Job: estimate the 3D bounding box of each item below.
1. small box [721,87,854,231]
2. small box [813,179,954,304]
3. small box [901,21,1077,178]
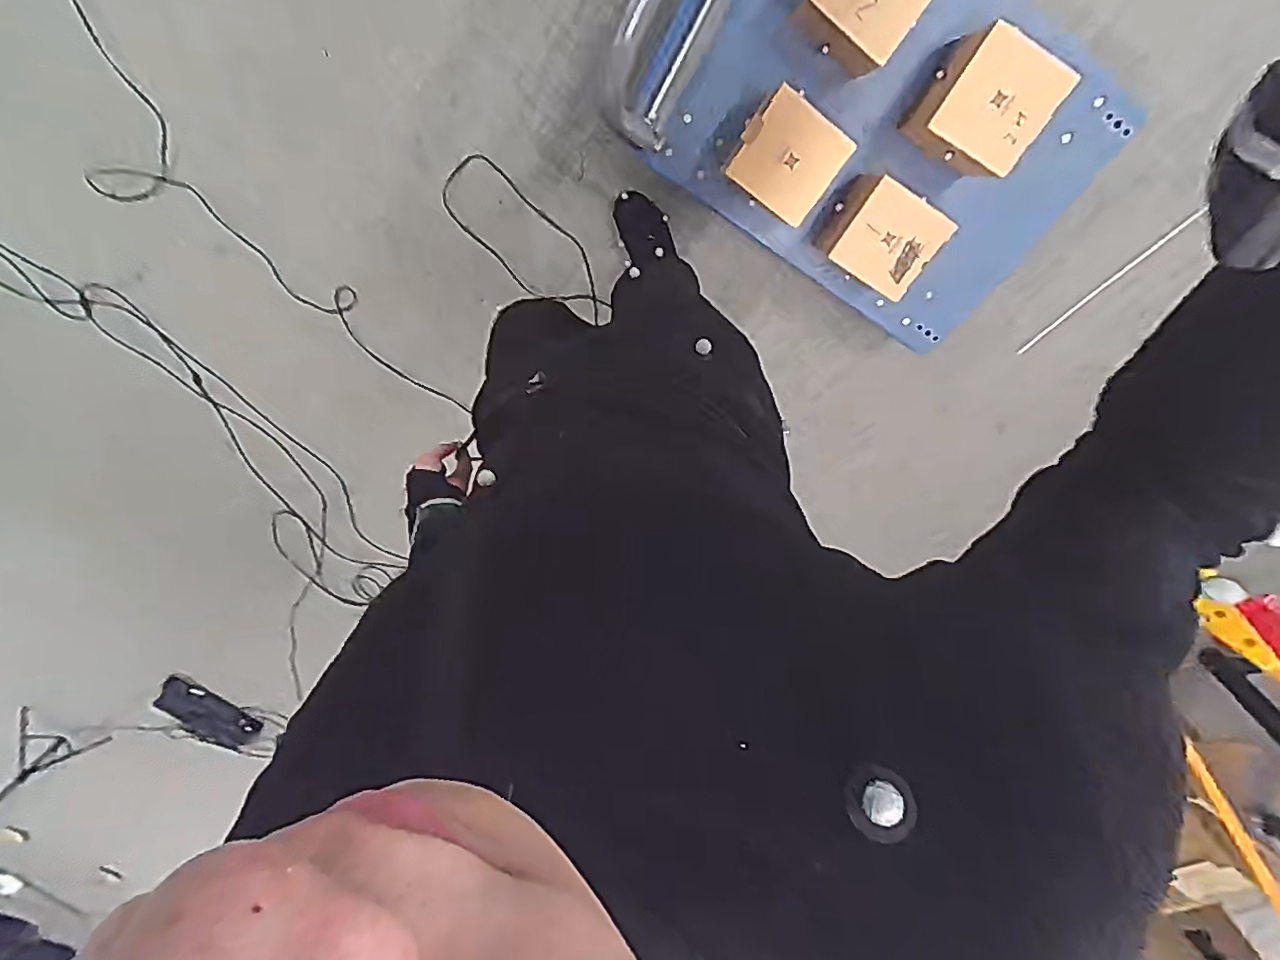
[{"bbox_3d":[0.275,-0.617,1.048,0.179,0.176,0.168,31,118,-12],"label":"small box"},{"bbox_3d":[0.483,-0.491,1.100,0.179,0.176,0.168,28,118,-10],"label":"small box"},{"bbox_3d":[0.614,-0.673,0.979,0.179,0.176,0.168,26,120,-10],"label":"small box"}]
